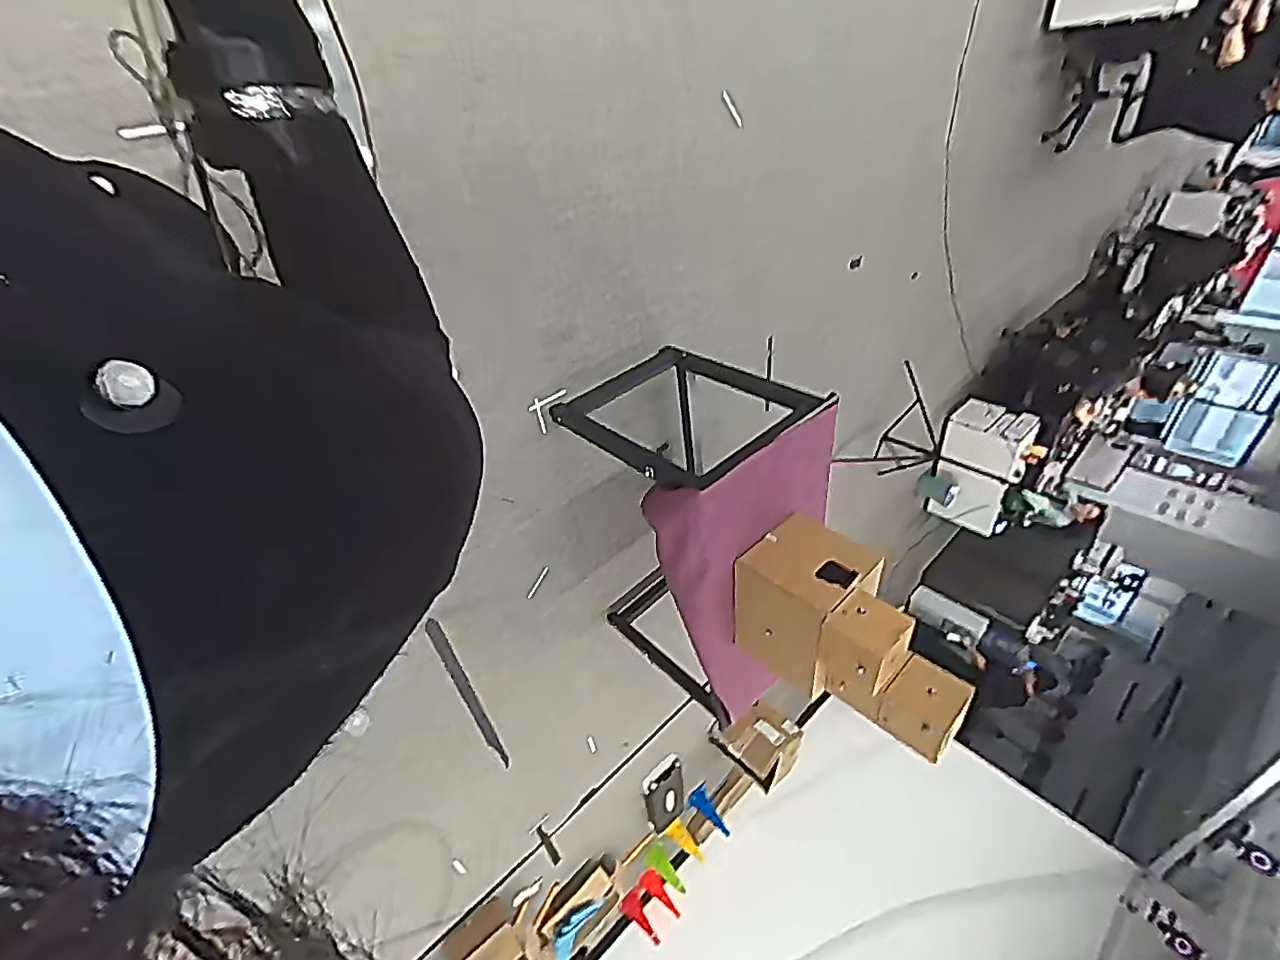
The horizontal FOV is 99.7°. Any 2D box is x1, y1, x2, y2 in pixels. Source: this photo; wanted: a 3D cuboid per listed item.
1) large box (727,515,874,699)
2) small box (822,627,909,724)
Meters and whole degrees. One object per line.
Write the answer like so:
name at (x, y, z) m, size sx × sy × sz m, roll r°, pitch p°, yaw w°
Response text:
large box at (0.494, 0.391, 1.705) m, size 0.320 × 0.320 × 0.408 m, roll -33°, pitch 132°, yaw -31°
small box at (0.669, 0.575, 1.613) m, size 0.179 × 0.176 × 0.168 m, roll -32°, pitch 131°, yaw -30°
